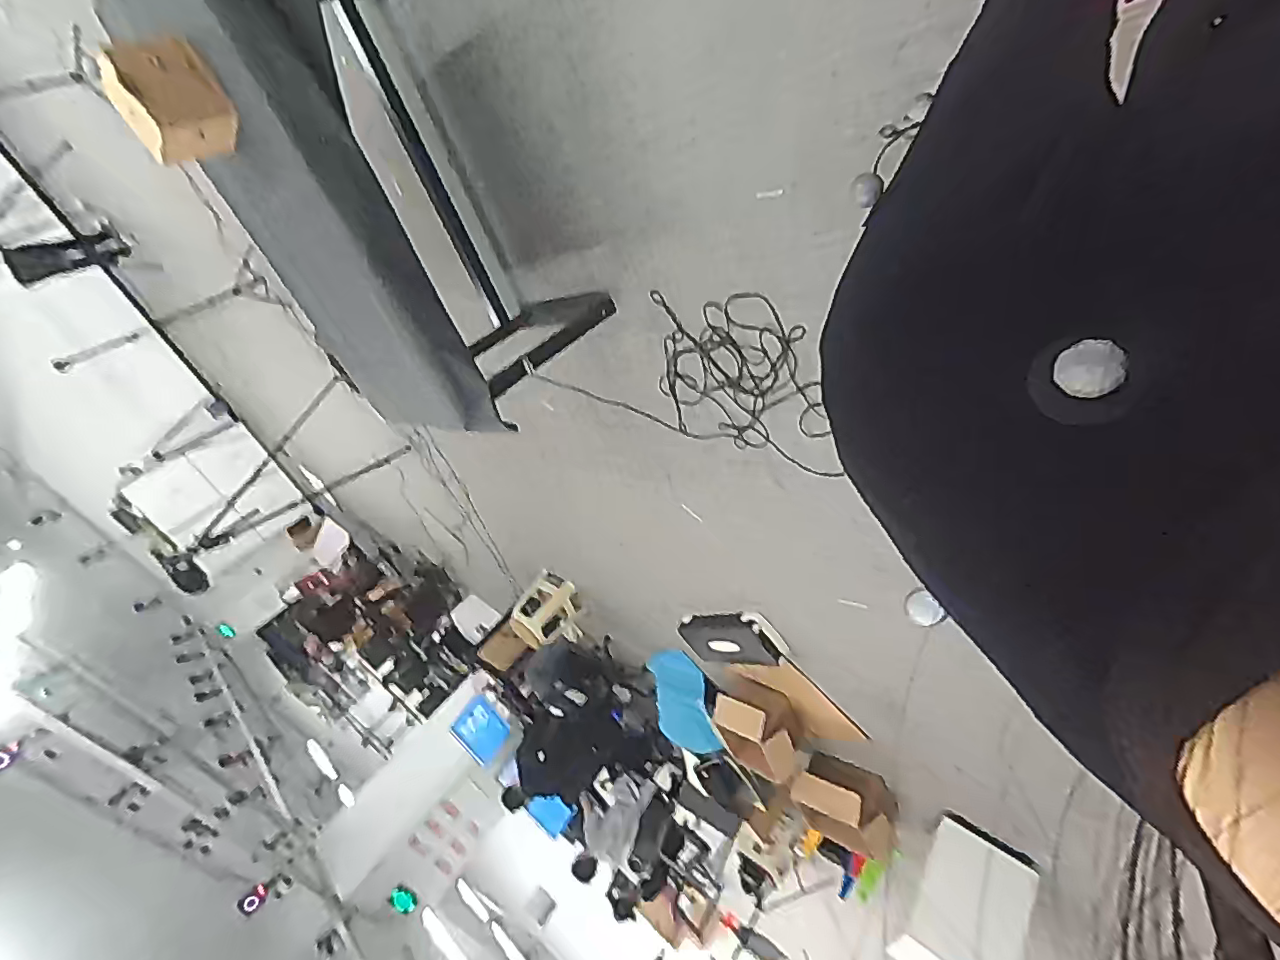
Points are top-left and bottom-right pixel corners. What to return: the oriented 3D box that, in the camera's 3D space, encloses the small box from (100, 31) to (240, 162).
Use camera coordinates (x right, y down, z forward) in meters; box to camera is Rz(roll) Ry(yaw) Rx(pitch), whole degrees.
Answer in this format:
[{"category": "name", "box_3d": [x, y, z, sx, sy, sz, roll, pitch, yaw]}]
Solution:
[{"category": "small box", "box_3d": [-1.030, -0.850, 1.200, 0.179, 0.176, 0.168, 0, 126, 51]}]
